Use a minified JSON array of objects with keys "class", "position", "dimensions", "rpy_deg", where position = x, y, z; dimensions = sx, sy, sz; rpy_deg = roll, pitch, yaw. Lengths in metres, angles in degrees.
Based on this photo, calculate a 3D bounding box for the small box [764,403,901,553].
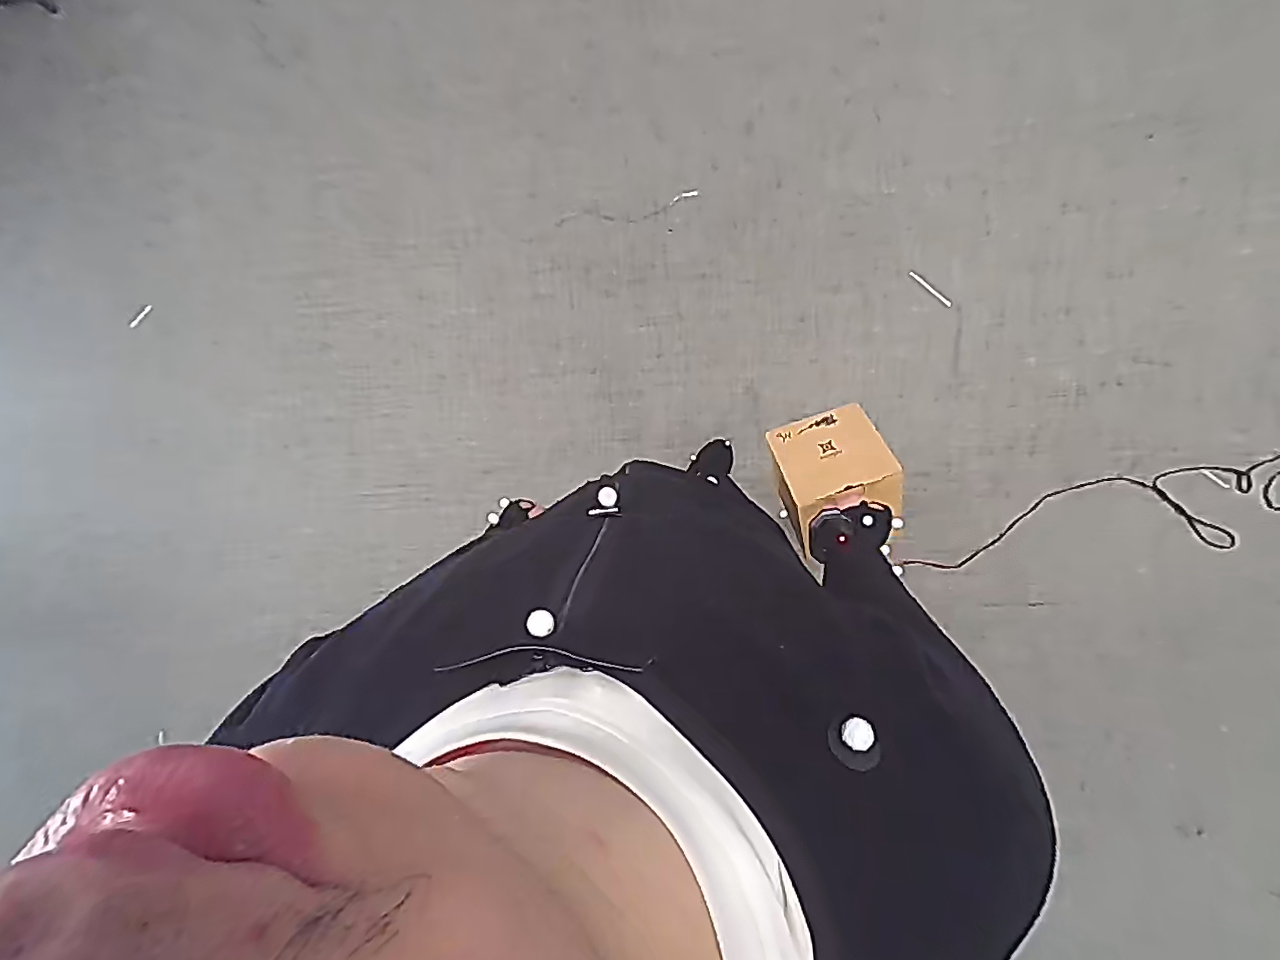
[{"class":"small box","position":[0.334,0.006,0.936],"dimensions":[0.168,0.179,0.176],"rpy_deg":[-22,135,8]}]
